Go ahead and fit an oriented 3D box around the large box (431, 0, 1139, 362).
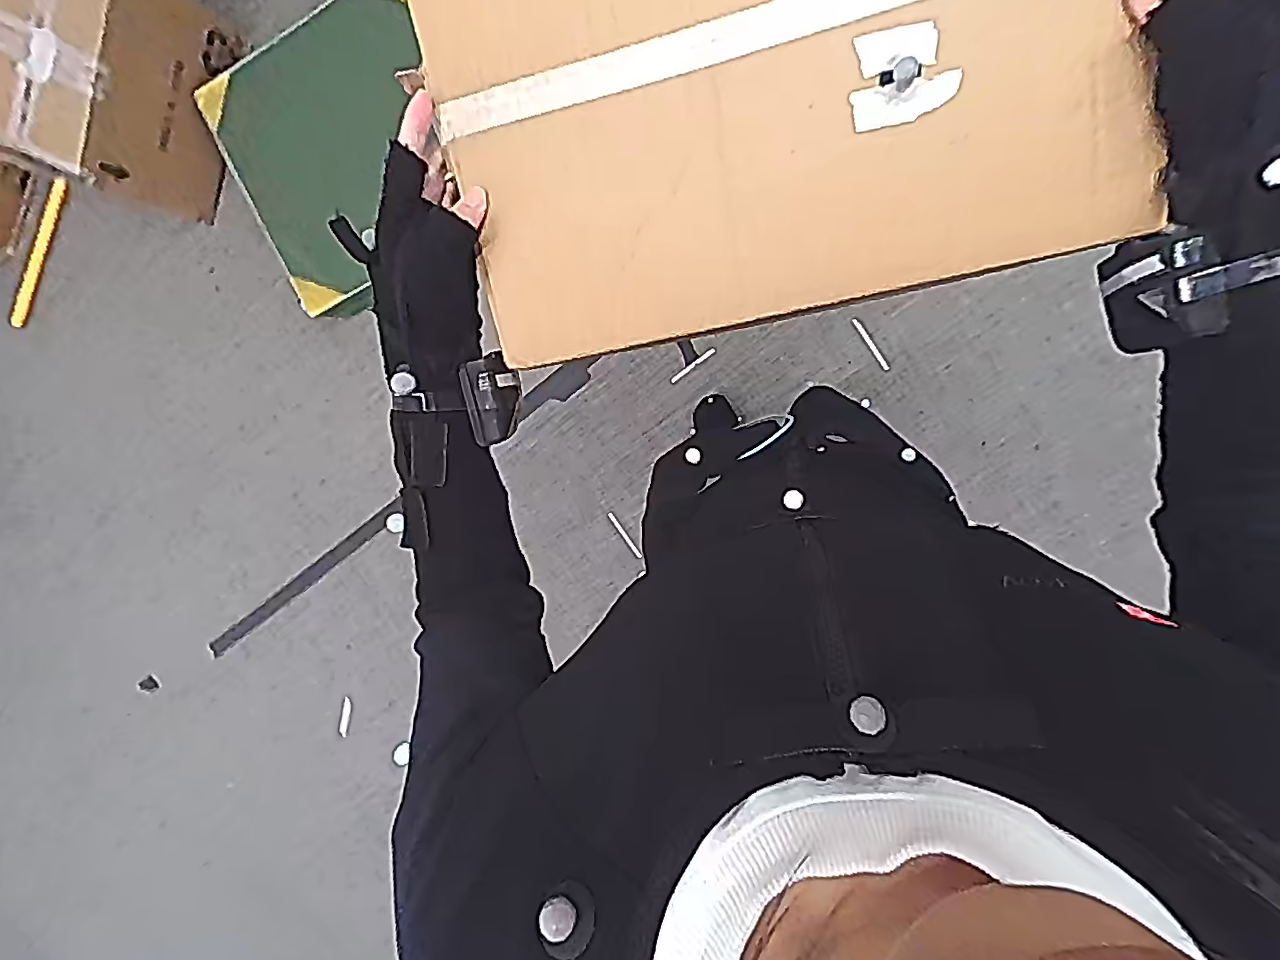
[{"bbox_3d":[0.091,-0.300,0.468,0.408,0.320,0.320,-10,104,8],"label":"large box"}]
